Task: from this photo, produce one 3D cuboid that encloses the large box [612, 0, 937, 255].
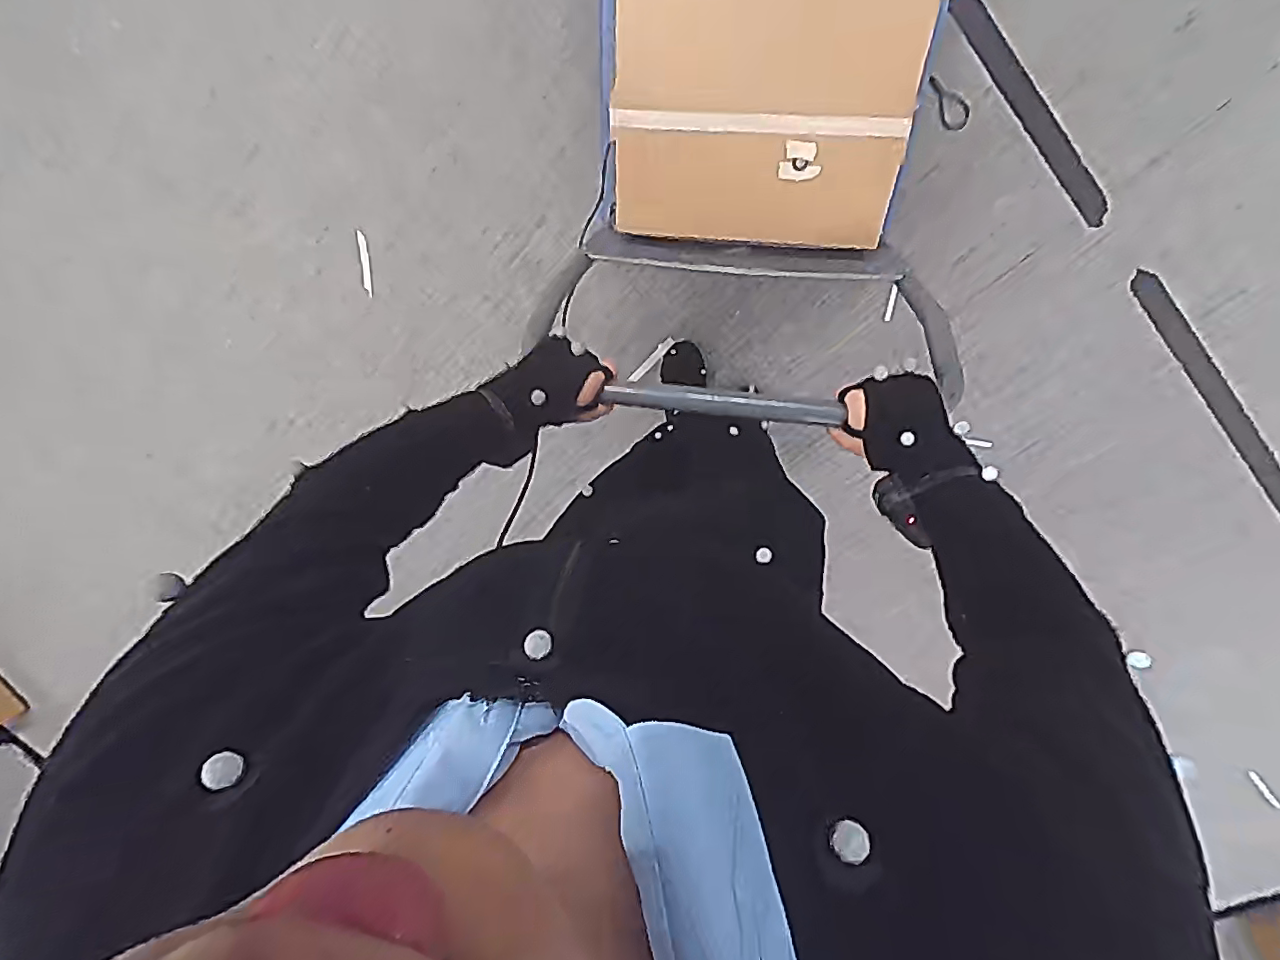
[{"bbox_3d":[0.180,-0.568,0.871,0.408,0.320,0.320,6,127,6],"label":"large box"}]
